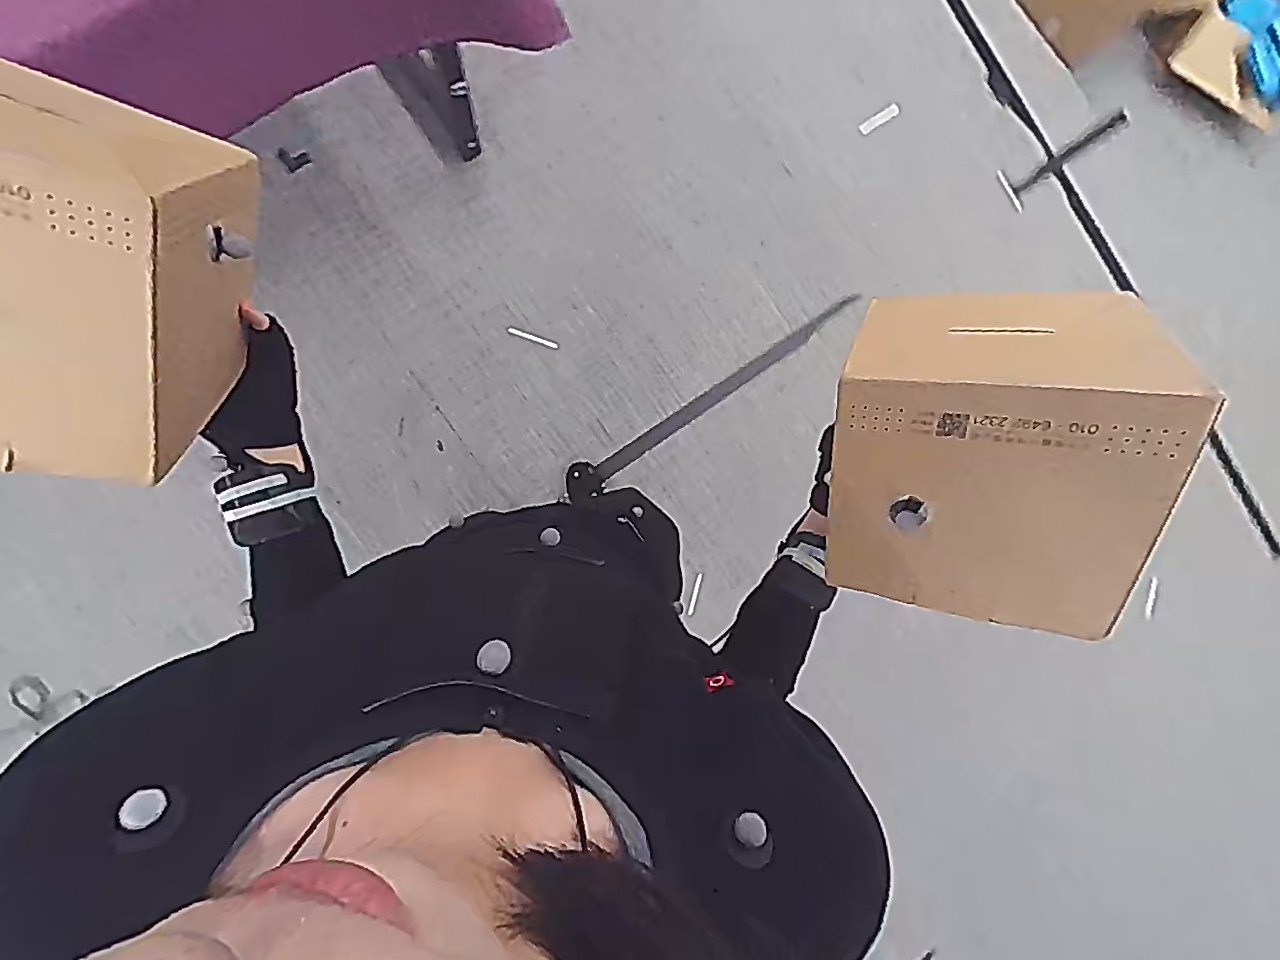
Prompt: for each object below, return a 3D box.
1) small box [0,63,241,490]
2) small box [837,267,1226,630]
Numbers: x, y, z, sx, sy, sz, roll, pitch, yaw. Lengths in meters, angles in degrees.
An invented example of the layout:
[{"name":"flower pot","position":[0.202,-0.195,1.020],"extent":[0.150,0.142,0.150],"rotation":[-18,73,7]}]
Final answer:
[{"name":"small box","position":[-0.340,-0.120,0.293],"extent":[0.168,0.179,0.176],"rotation":[11,120,-26]},{"name":"small box","position":[0.233,-0.034,0.367],"extent":[0.168,0.179,0.176],"rotation":[8,127,24]}]
